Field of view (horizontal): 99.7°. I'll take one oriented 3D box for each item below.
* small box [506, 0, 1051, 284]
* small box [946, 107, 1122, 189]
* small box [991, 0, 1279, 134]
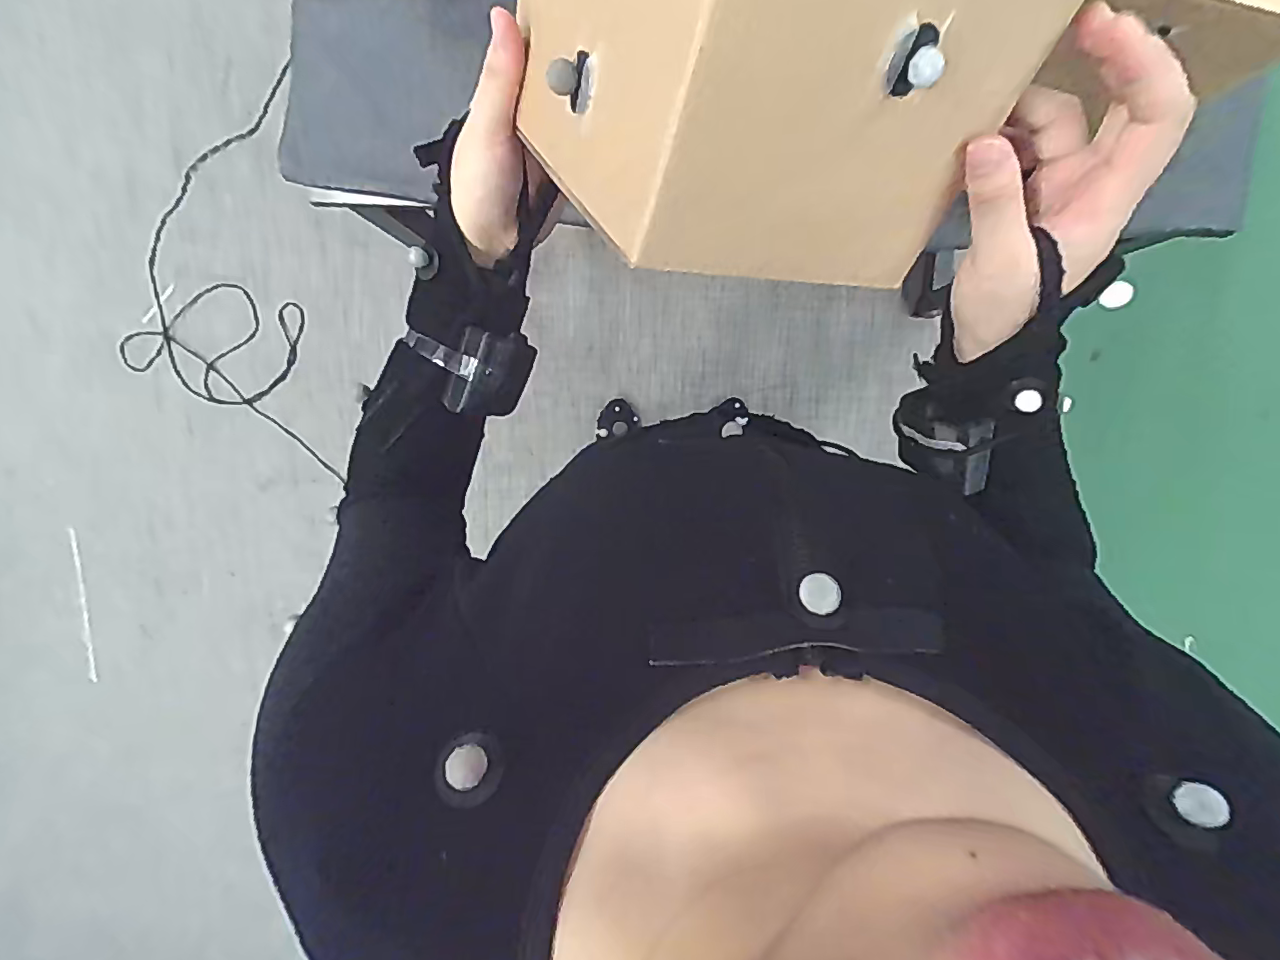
[{"bbox_3d":[0.050,-0.210,0.240,0.168,0.179,0.176,-8,141,-29],"label":"small box"},{"bbox_3d":[0.416,-0.452,0.597,0.168,0.176,0.179,4,98,2],"label":"small box"},{"bbox_3d":[0.411,-0.417,0.438,0.179,0.176,0.168,14,97,1],"label":"small box"}]
